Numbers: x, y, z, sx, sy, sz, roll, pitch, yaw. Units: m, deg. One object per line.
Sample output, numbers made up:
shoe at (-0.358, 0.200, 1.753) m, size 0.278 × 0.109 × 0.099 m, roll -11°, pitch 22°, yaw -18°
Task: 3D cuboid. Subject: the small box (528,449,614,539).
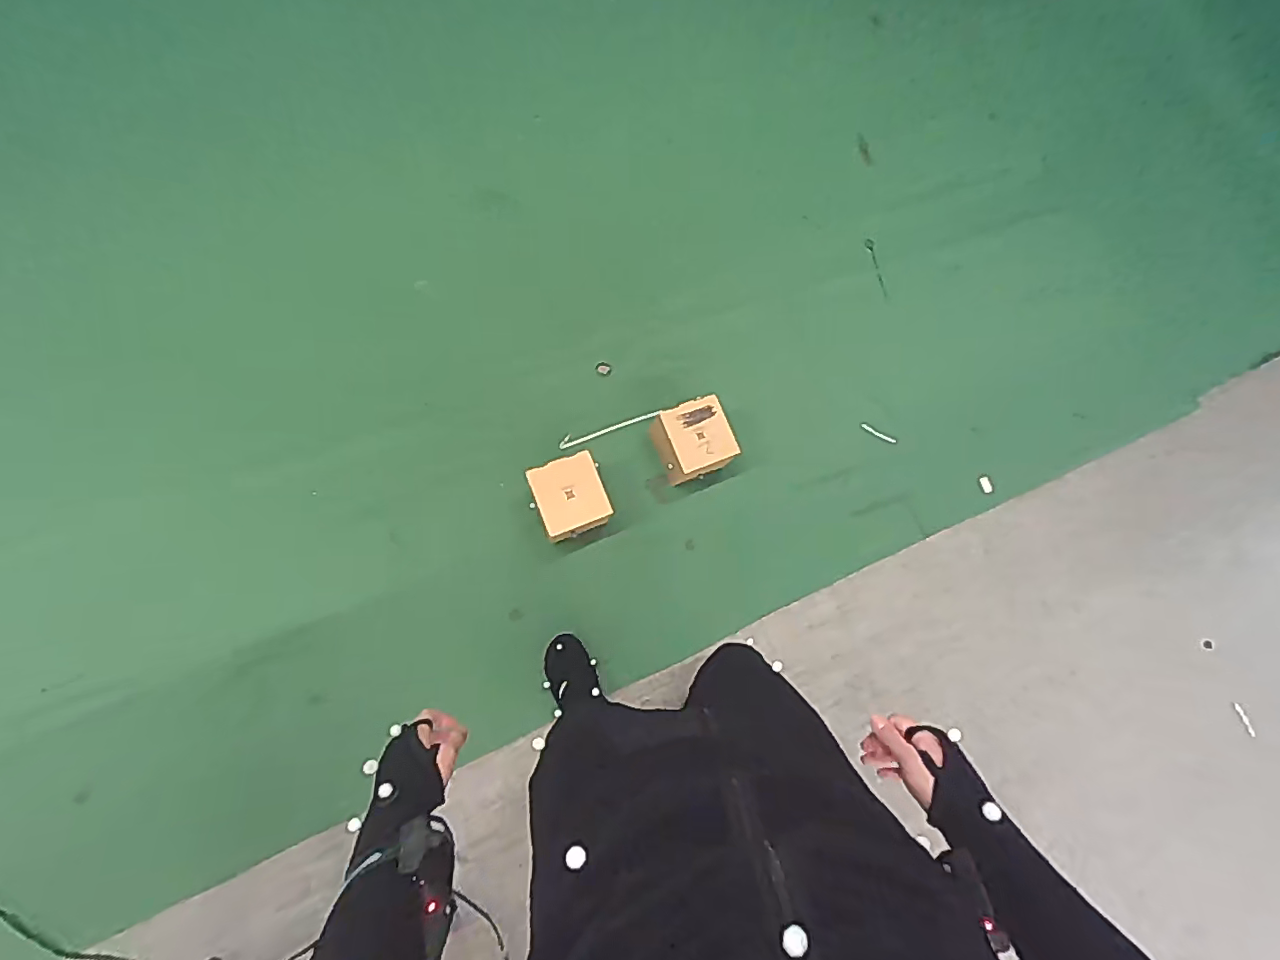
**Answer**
small box at (-0.176, 0.044, 1.393) m, size 0.168 × 0.176 × 0.179 m, roll -21°, pitch 81°, yaw -12°
